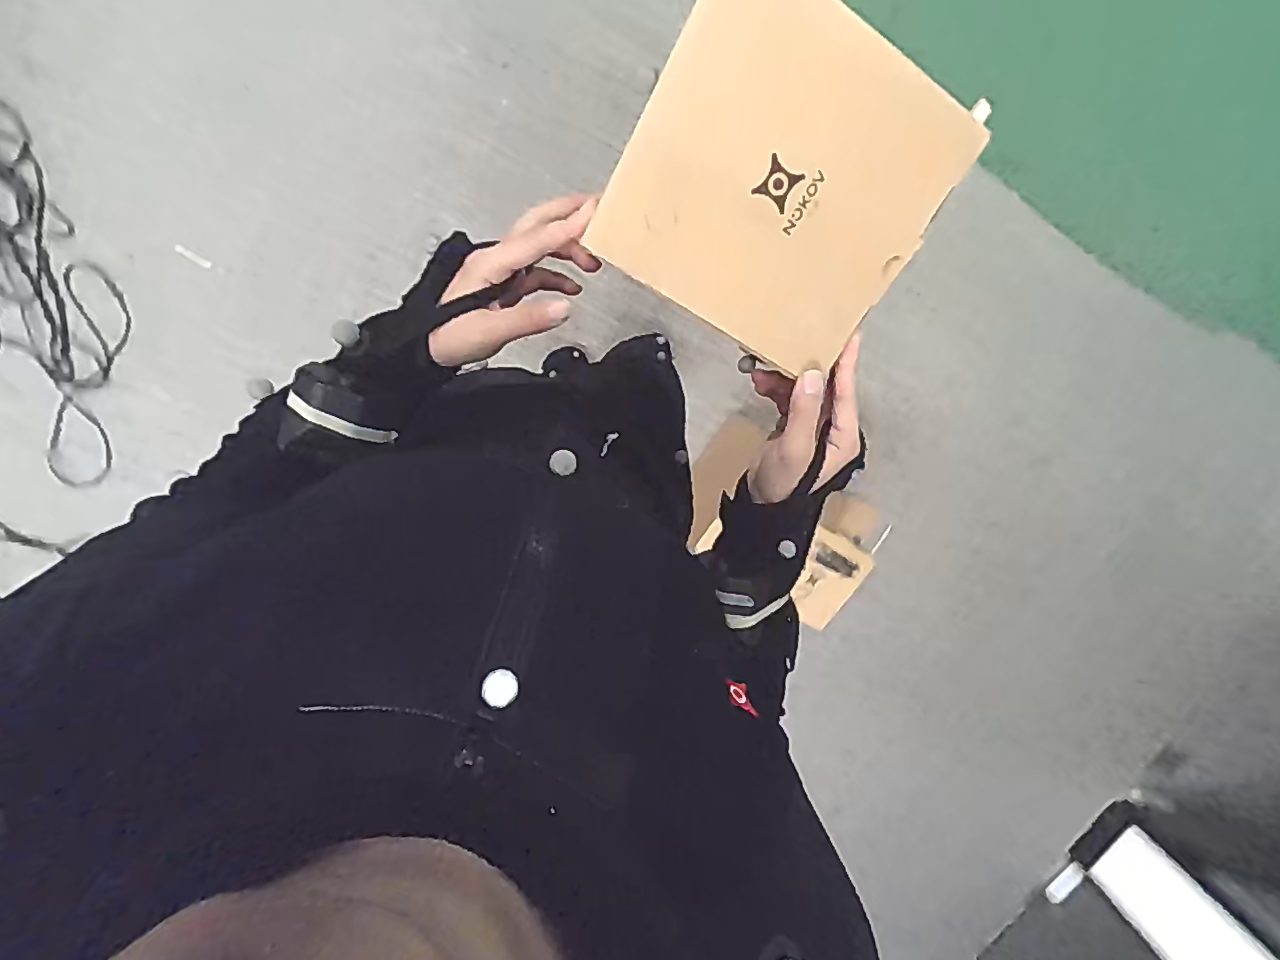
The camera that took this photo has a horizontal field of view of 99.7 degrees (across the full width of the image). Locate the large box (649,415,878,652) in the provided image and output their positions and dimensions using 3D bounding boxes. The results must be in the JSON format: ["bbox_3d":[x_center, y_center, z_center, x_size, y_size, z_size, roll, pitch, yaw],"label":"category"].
[{"bbox_3d":[0.266,0.114,1.297,0.320,0.320,0.408,31,104,-14],"label":"large box"}]

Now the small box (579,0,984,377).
[{"bbox_3d":[0.071,-0.196,0.374,0.179,0.176,0.168,25,109,-16],"label":"small box"}]
